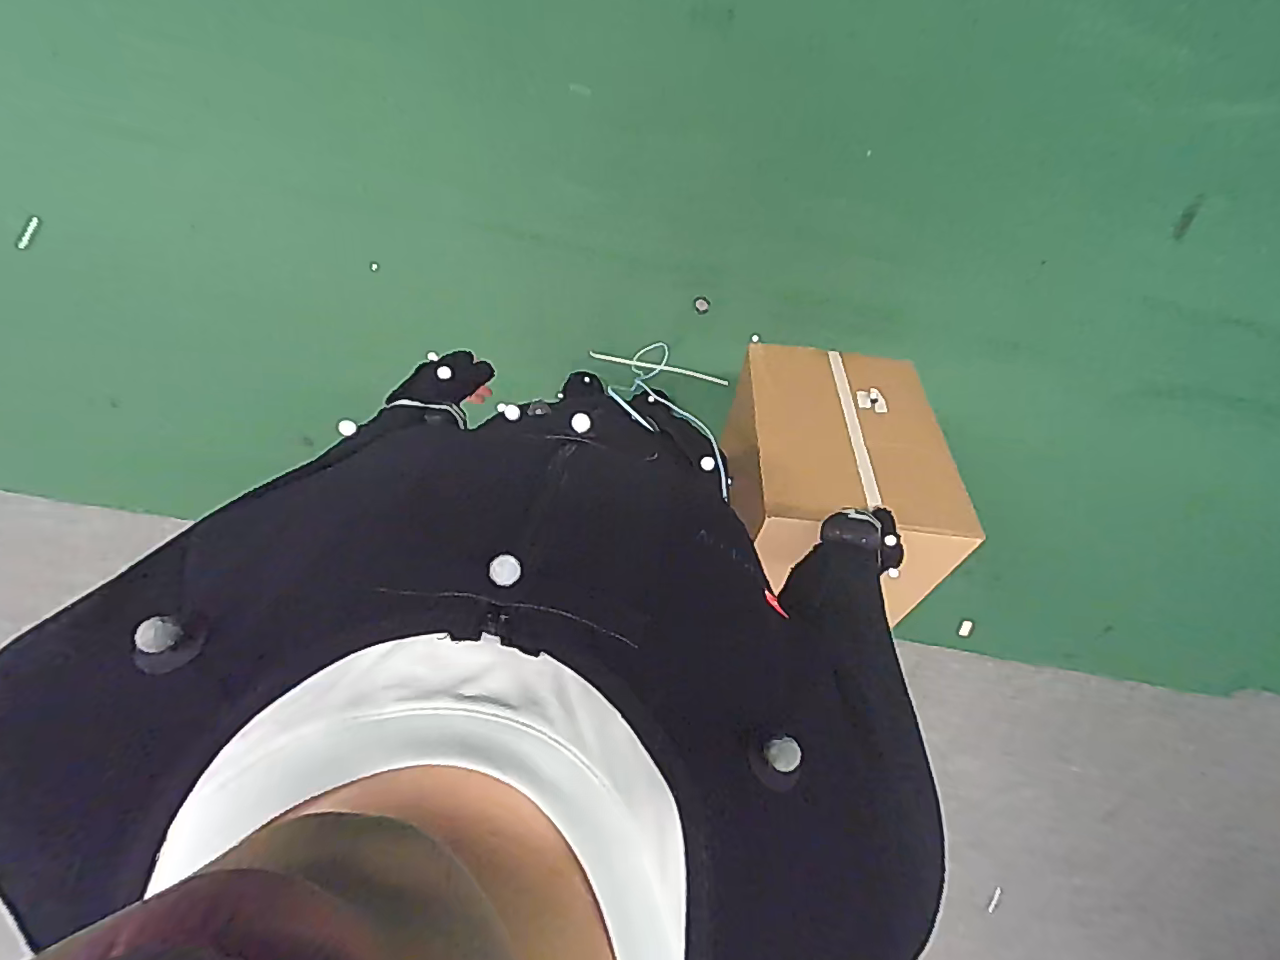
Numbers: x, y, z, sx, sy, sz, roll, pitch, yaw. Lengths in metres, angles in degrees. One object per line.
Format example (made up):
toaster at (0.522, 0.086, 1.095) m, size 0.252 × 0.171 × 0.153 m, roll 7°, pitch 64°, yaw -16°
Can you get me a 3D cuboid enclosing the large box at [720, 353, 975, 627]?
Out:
large box at (0.332, 0.019, 1.011) m, size 0.320 × 0.408 × 0.320 m, roll 7°, pitch 139°, yaw -1°
